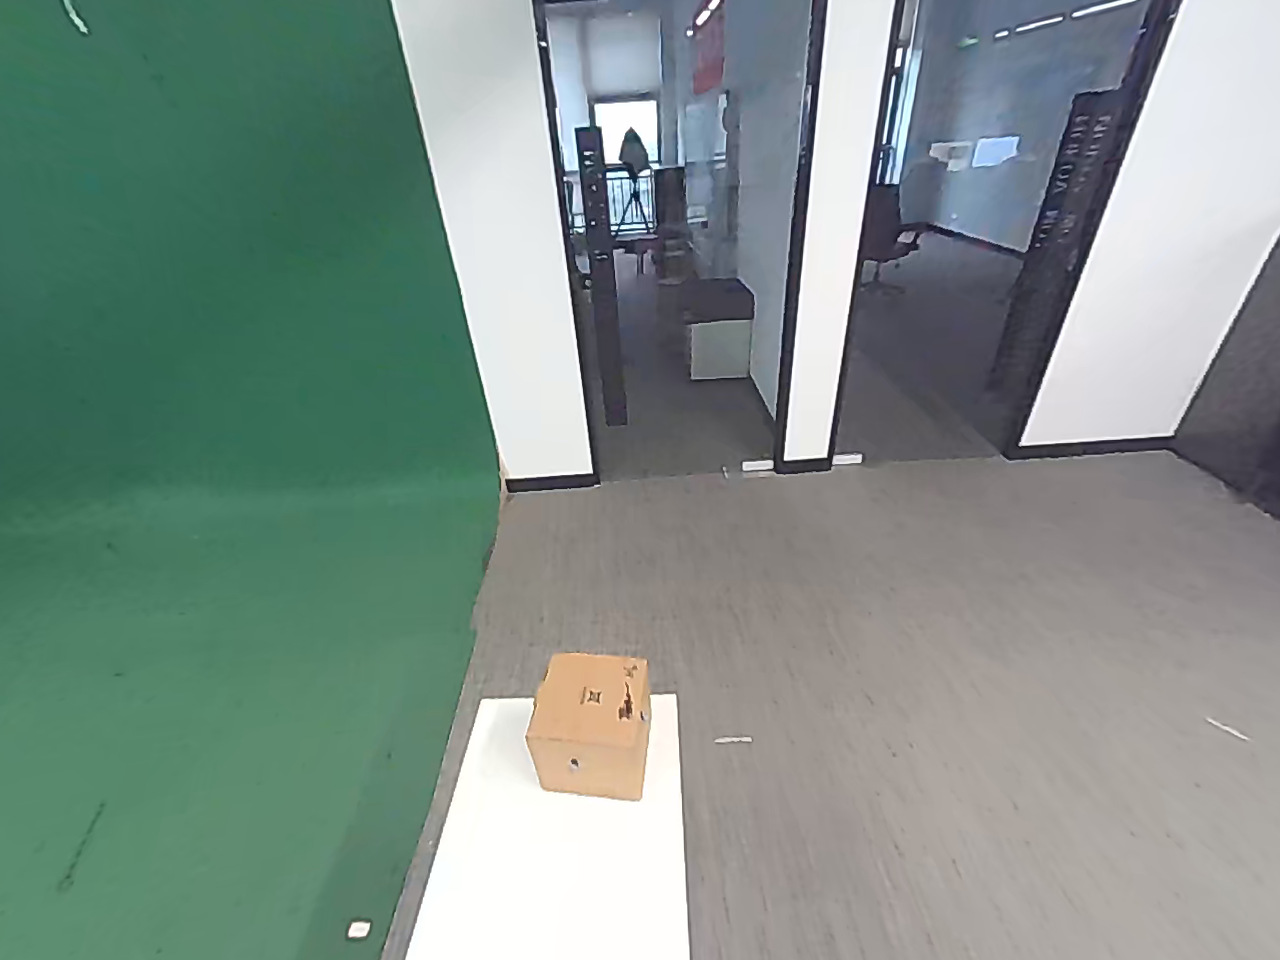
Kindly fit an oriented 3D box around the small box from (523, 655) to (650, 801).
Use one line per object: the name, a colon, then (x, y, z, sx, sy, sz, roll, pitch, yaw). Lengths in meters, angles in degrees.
small box: (-0.082, 0.429, 0.939, 0.179, 0.176, 0.168, 1, 33, 9)
